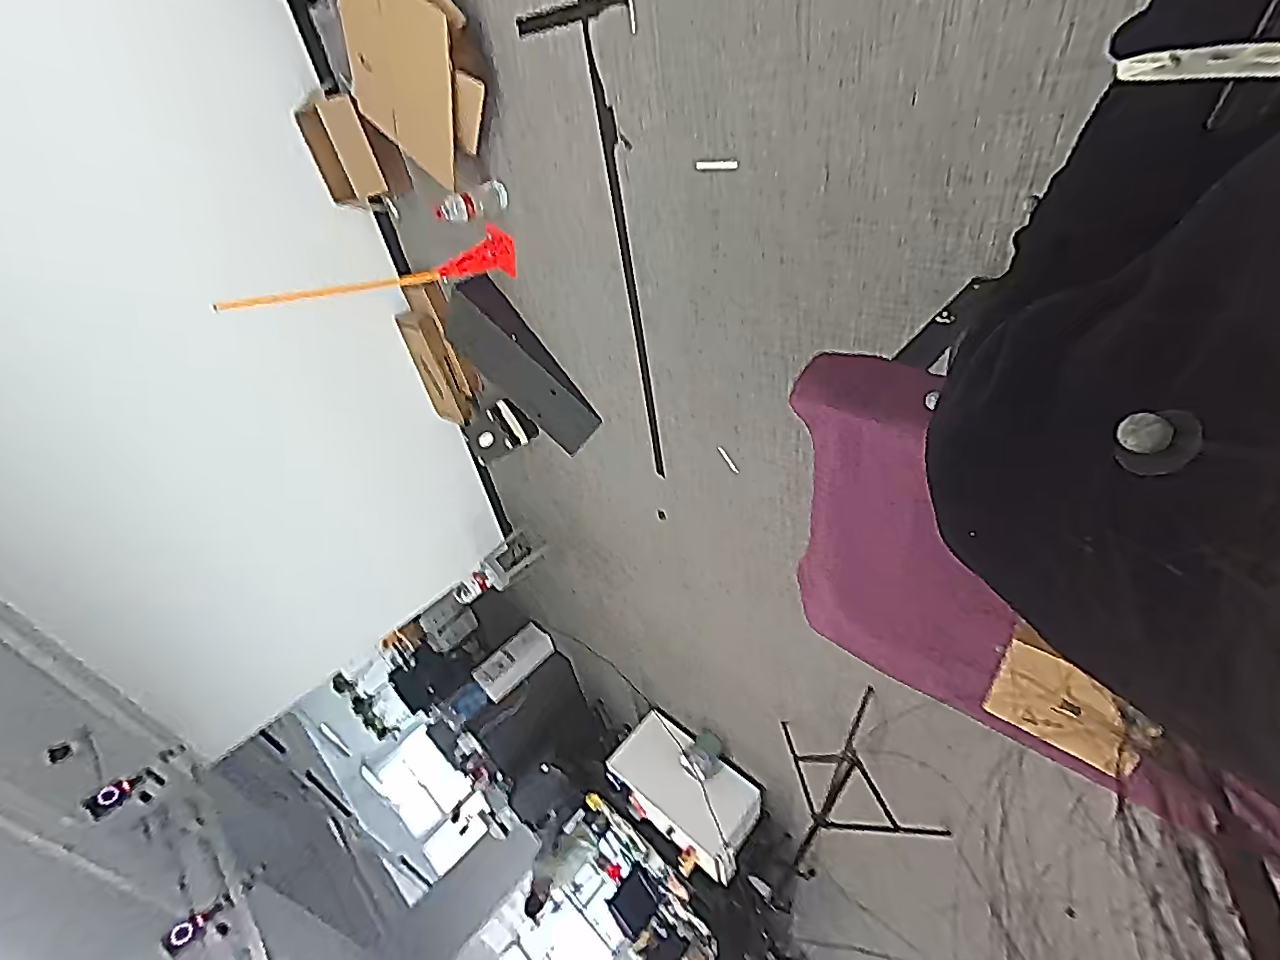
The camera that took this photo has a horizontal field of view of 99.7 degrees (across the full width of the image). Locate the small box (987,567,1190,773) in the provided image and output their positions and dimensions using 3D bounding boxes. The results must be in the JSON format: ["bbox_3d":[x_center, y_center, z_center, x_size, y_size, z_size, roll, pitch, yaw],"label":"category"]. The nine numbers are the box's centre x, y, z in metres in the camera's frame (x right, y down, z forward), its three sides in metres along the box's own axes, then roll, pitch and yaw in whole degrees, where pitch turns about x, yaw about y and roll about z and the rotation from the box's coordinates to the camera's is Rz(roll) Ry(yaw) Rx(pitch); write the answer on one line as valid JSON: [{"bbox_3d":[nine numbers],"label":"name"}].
[{"bbox_3d":[0.622,0.254,0.756,0.168,0.176,0.179,24,139,37],"label":"small box"}]
